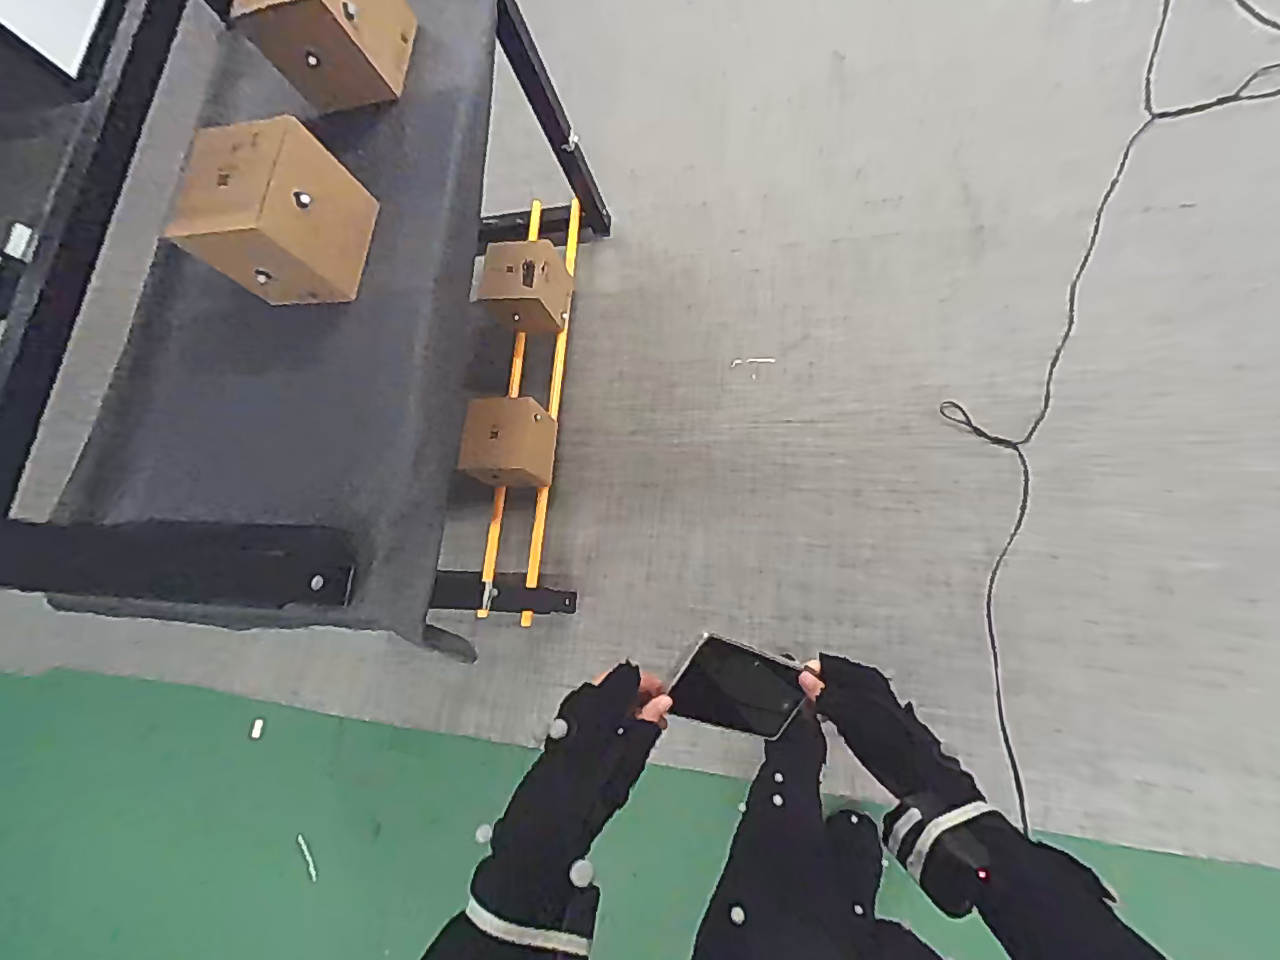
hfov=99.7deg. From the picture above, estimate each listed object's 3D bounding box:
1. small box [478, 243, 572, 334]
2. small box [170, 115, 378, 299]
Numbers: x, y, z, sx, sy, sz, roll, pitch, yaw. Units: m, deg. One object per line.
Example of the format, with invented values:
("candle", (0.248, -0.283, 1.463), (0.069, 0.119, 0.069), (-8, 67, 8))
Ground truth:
("small box", (-0.294, -0.500, 1.426), (0.179, 0.176, 0.168), (4, 76, 16))
("small box", (-0.516, -0.380, 0.787), (0.168, 0.176, 0.179), (3, 77, 16))
